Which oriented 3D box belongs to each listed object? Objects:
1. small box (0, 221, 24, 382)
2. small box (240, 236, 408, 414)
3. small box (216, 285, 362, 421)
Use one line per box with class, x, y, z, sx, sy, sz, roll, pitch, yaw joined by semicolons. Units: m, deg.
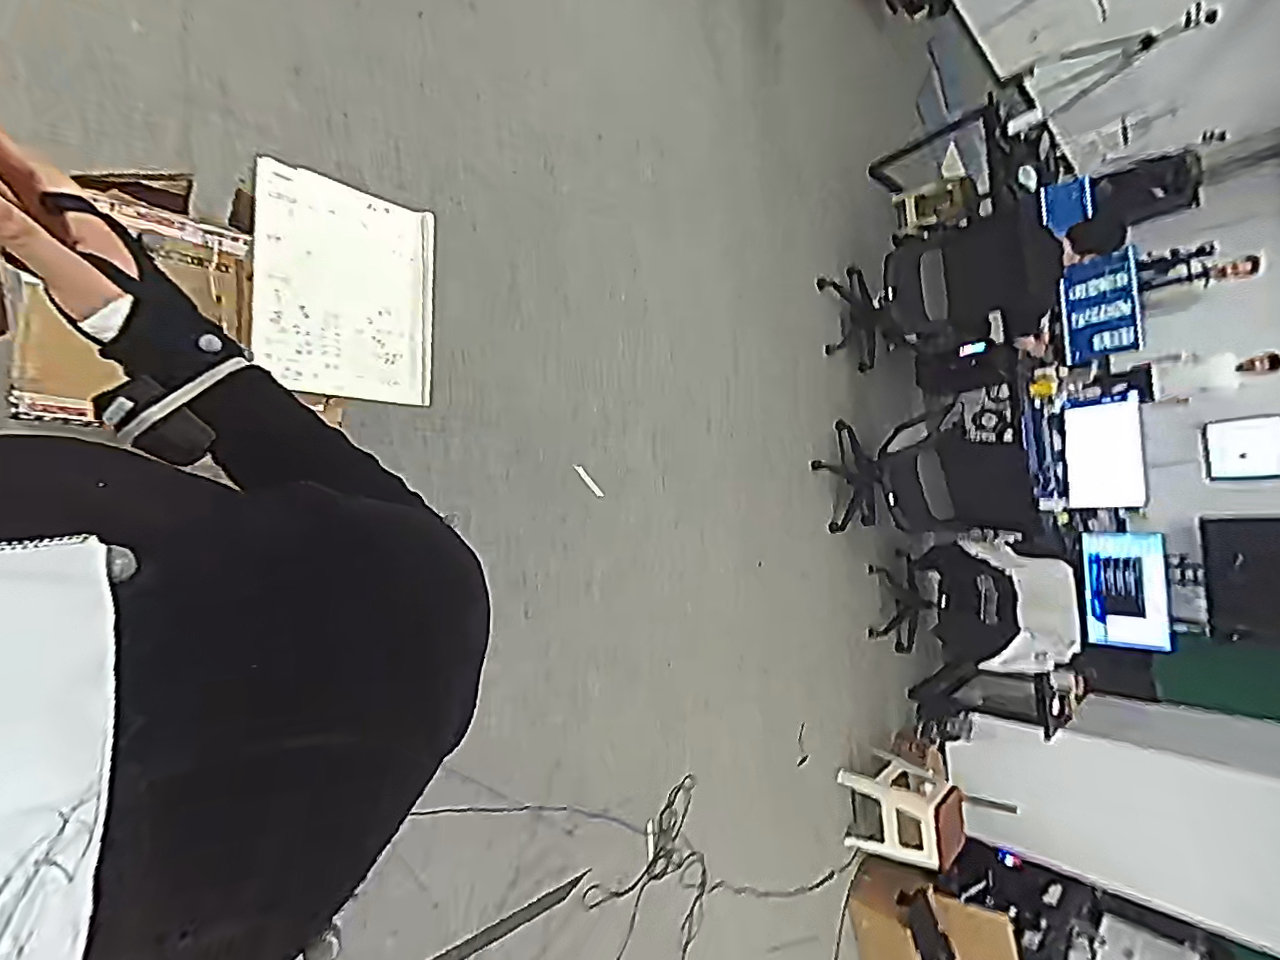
small box;-0.493;-0.162;0.309;0.168;0.176;0.179;-12;90;-47
small box;-0.437;-0.197;0.746;0.168;0.176;0.179;3;86;-44
small box;-0.554;-0.188;0.862;0.179;0.176;0.168;-2;88;-44
